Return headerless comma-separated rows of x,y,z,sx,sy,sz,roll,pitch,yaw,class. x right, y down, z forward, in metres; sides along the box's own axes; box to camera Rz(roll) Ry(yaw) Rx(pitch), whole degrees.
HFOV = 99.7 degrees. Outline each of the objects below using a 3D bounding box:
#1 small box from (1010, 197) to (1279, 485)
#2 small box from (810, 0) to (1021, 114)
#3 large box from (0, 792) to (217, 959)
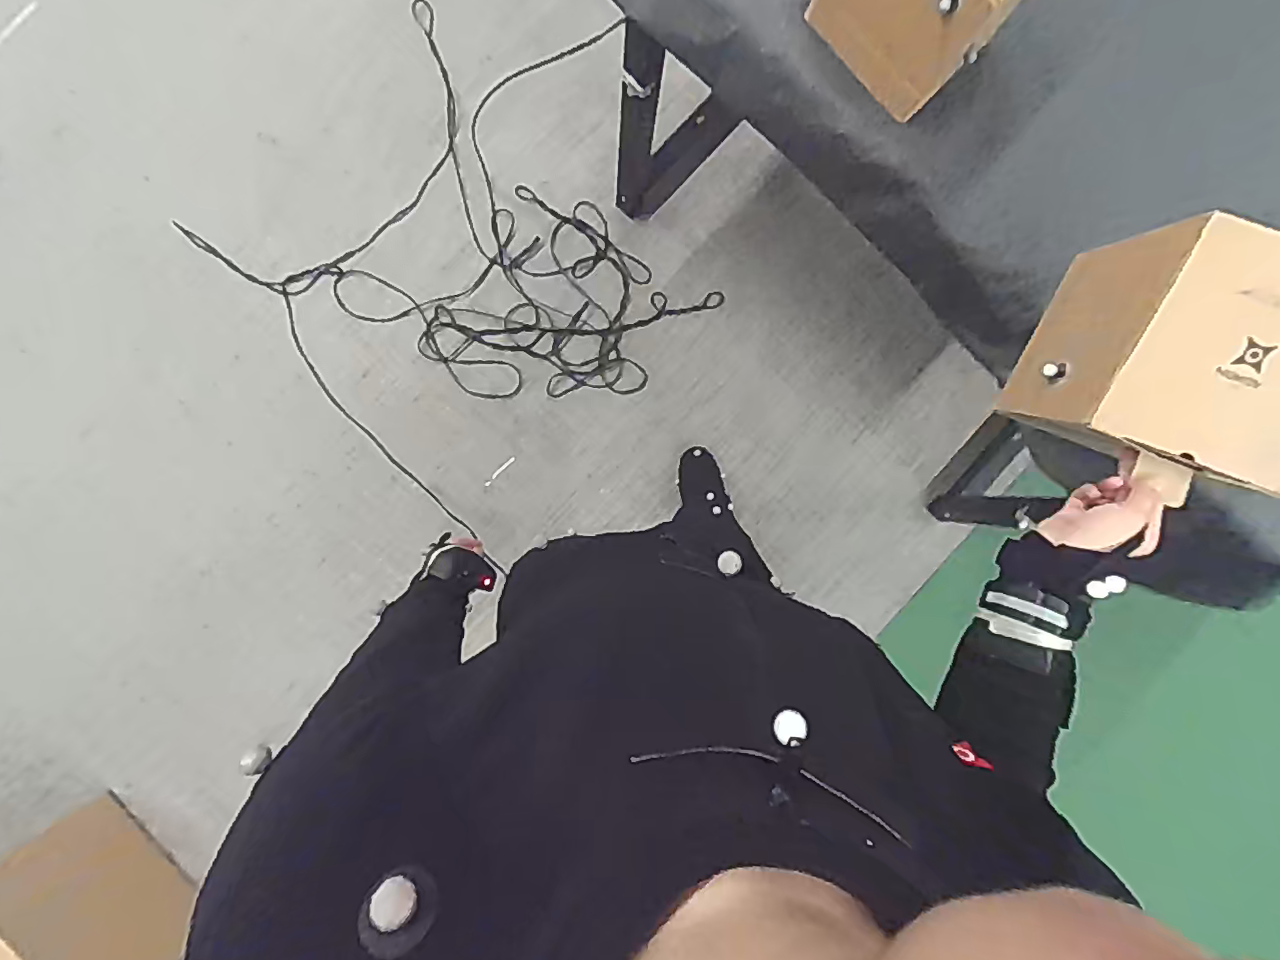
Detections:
0.483,-0.118,0.492,0.168,0.176,0.179,21,103,3,small box
0.317,-0.551,0.576,0.168,0.176,0.179,-45,93,-5,small box
-1.221,0.966,1.111,0.320,0.320,0.408,-40,90,-4,large box
